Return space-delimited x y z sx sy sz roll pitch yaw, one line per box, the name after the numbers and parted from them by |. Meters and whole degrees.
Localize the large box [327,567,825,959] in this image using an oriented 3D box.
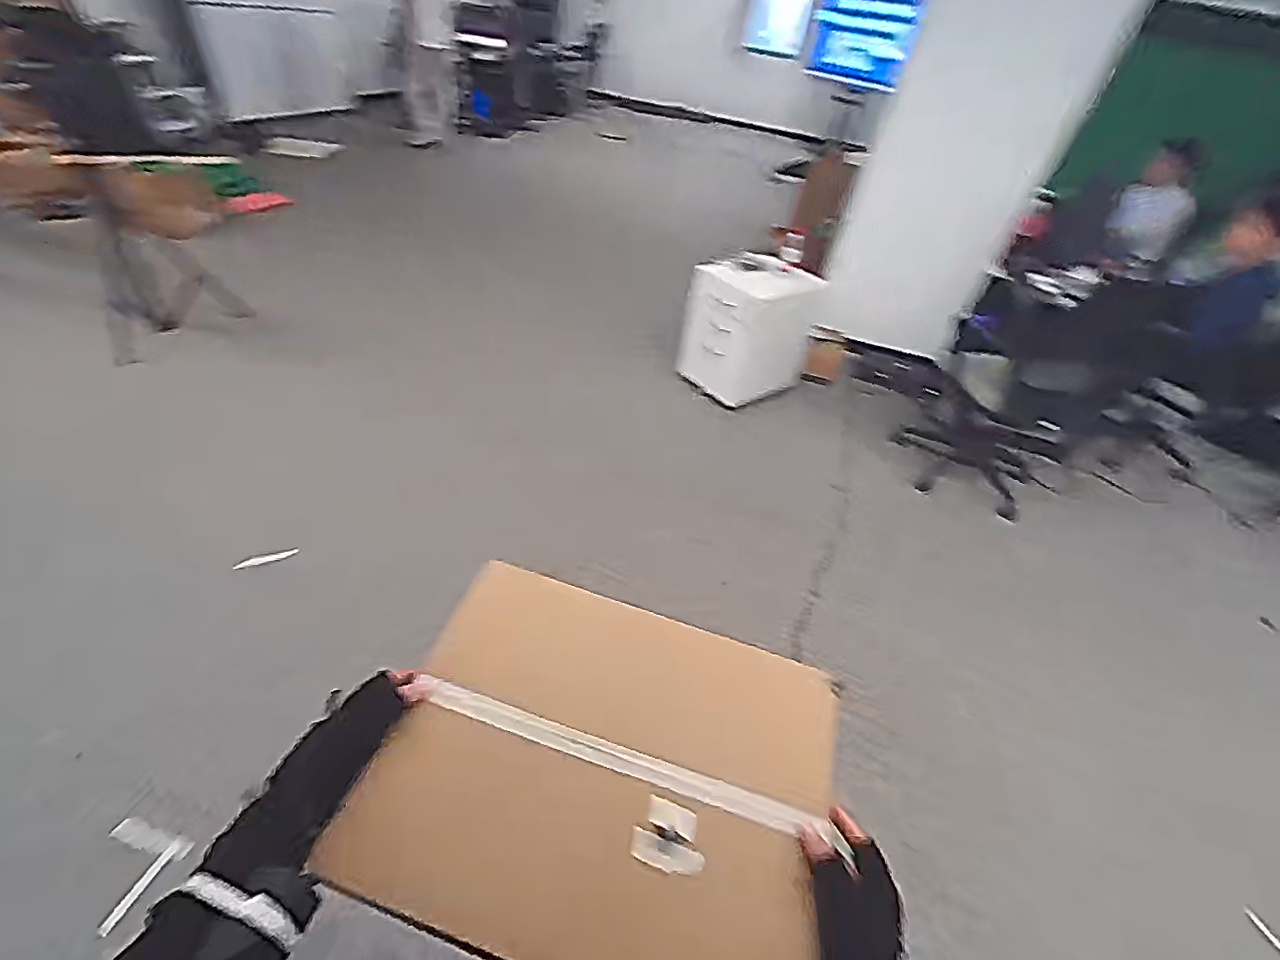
-0.046 0.360 0.621 0.408 0.320 0.320 18 47 5 | large box
